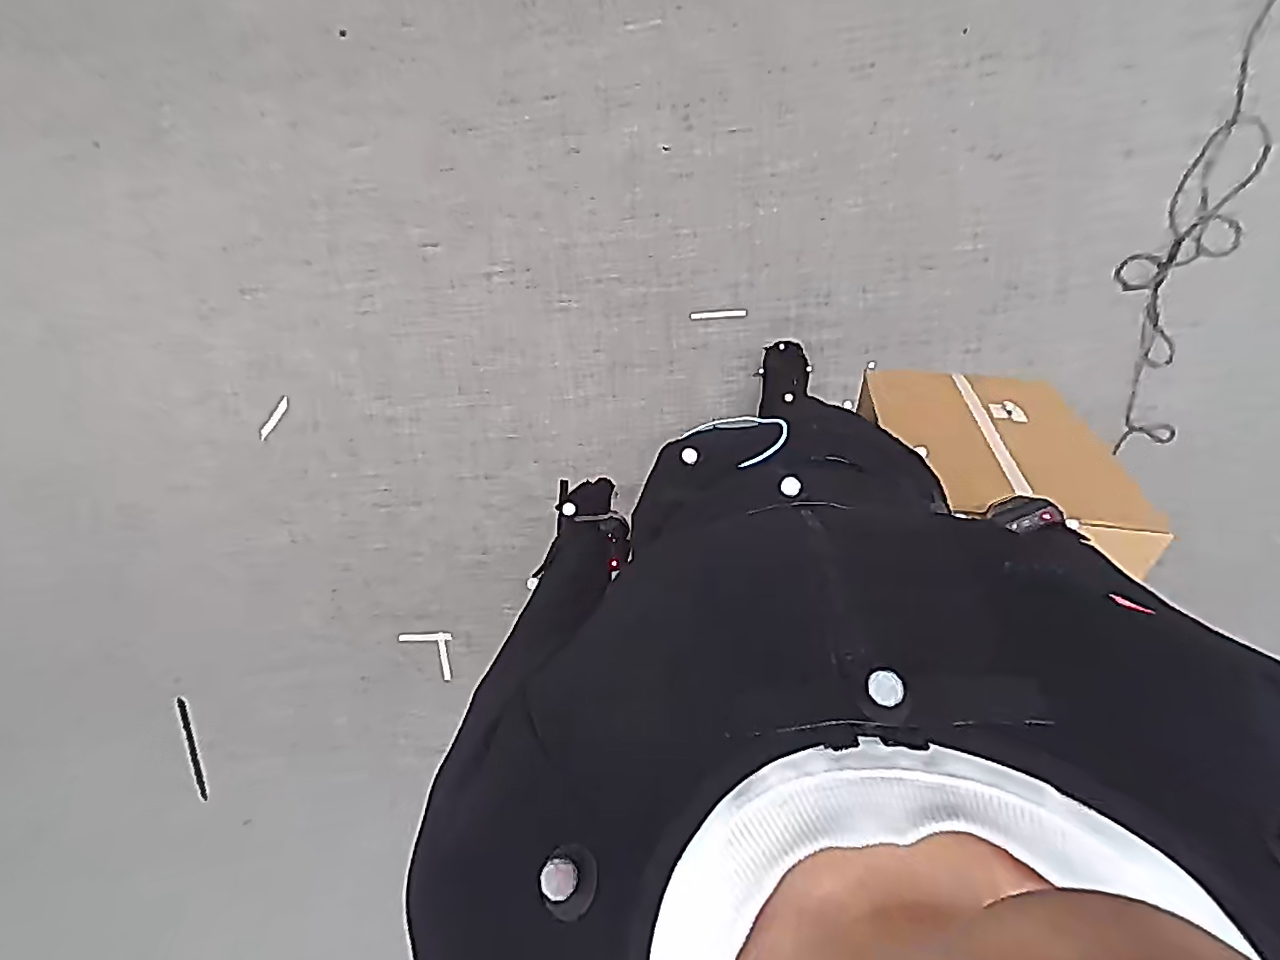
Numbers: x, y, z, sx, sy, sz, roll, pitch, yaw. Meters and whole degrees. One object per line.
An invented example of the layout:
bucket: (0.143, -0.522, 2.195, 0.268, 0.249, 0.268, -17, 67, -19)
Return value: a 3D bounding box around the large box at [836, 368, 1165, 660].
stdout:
large box: (0.539, 0.040, 0.930, 0.320, 0.408, 0.320, 6, 128, 9)
